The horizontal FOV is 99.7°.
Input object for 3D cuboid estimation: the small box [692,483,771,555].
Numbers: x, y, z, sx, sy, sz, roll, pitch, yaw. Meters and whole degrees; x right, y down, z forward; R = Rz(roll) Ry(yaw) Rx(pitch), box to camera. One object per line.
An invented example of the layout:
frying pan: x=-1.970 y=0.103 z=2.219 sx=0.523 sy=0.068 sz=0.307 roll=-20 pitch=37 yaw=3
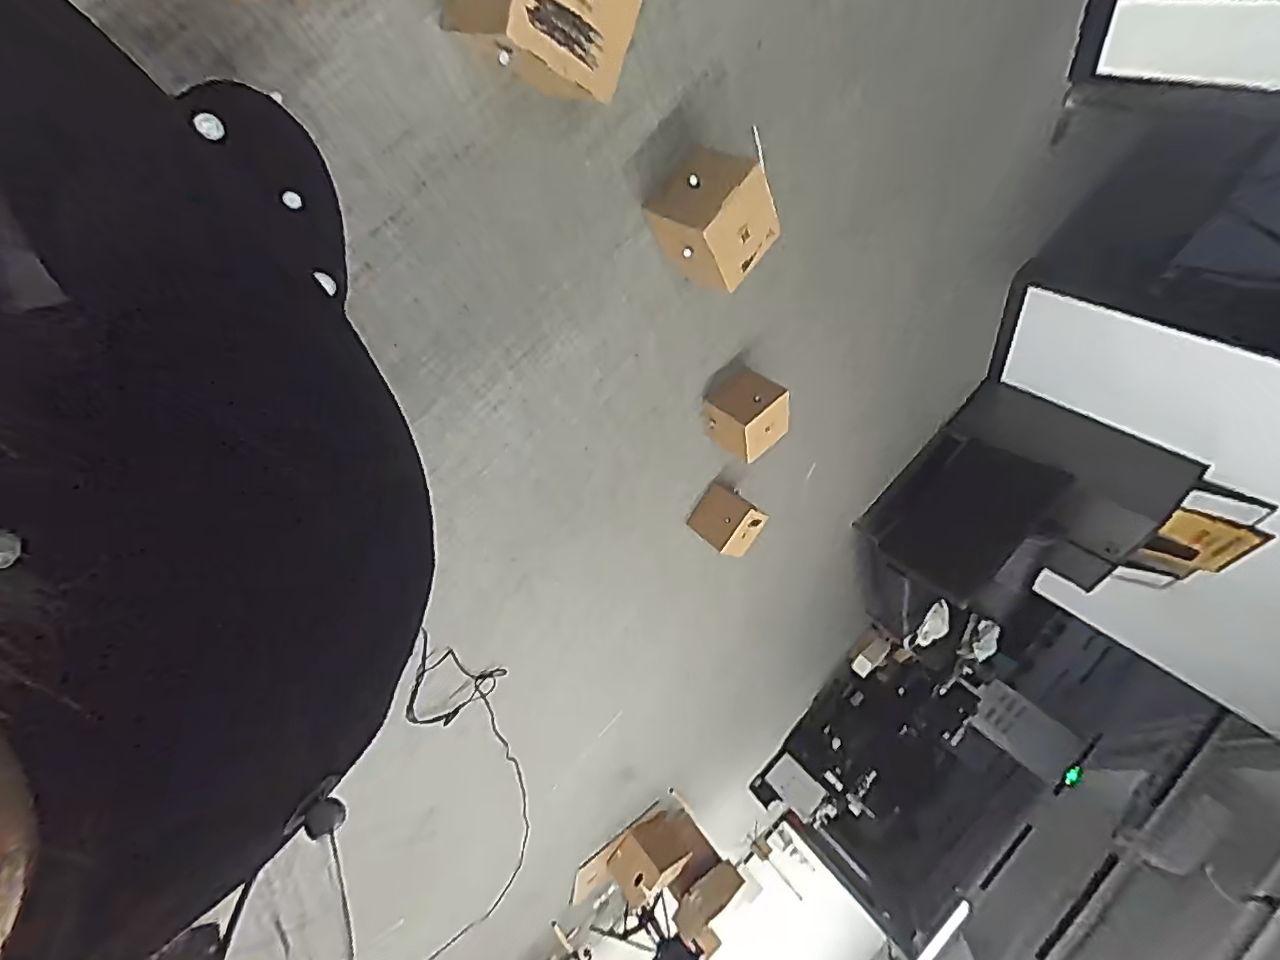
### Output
small box: x=0.306 y=0.131 z=1.829 sx=0.168 sy=0.176 sz=0.179 roll=19 pitch=107 yaw=-53

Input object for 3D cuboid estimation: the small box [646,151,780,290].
small box: x=0.141 y=-0.513 z=1.062 sx=0.168 sy=0.176 sz=0.179 roll=-51 pitch=144 yaw=0

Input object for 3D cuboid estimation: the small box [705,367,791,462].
small box: x=0.307 y=-0.192 z=1.541 sx=0.179 sy=0.176 sz=0.168 roll=-39 pitch=143 yaw=-16
